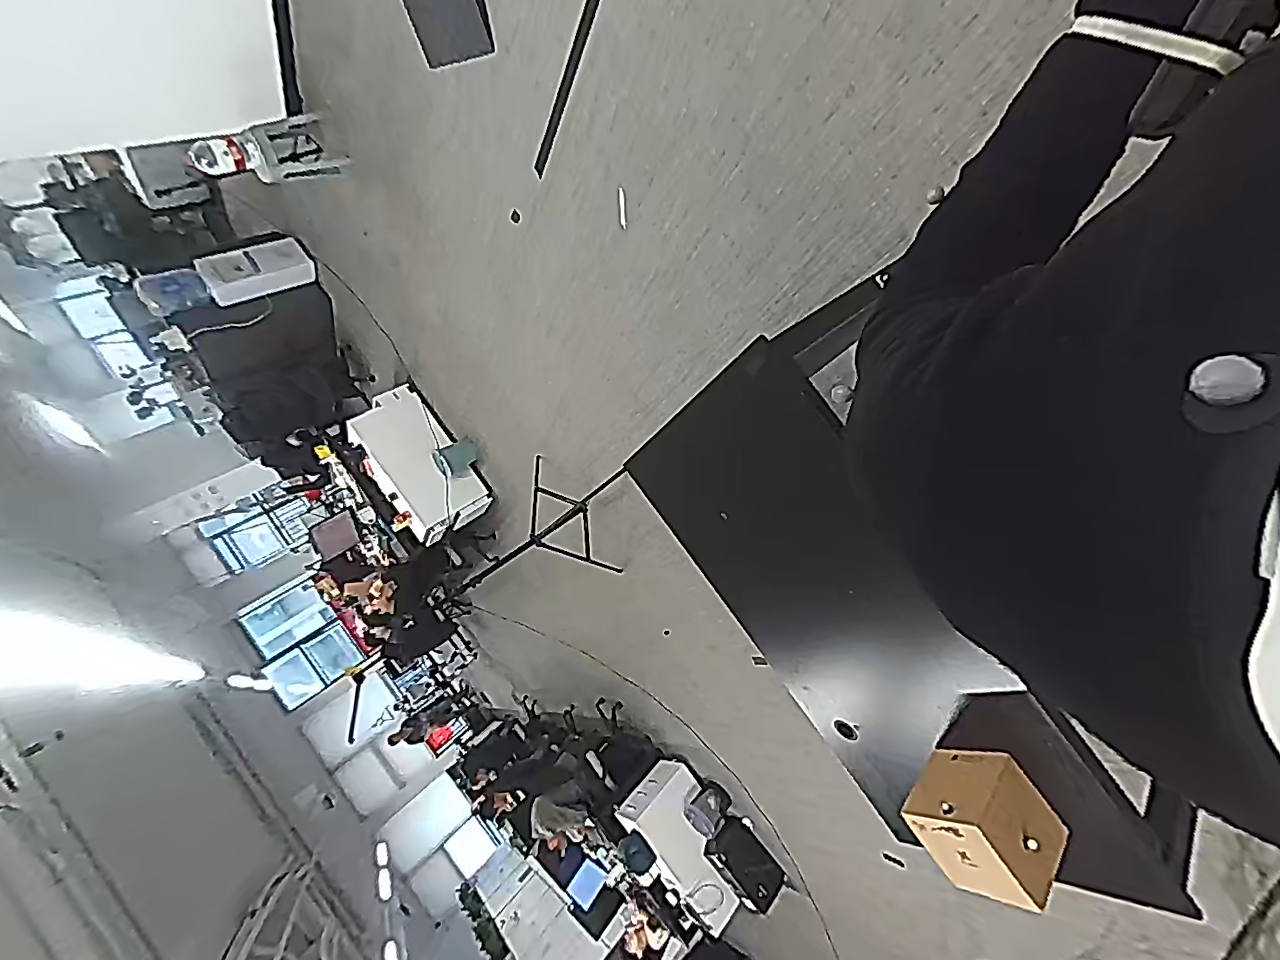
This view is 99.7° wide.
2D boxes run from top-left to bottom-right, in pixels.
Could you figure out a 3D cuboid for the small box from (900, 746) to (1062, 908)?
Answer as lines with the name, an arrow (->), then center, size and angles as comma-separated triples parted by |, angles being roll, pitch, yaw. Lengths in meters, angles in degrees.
small box -> 0.642, 0.636, 1.016 | 0.179, 0.176, 0.168 | 52, 148, 4
